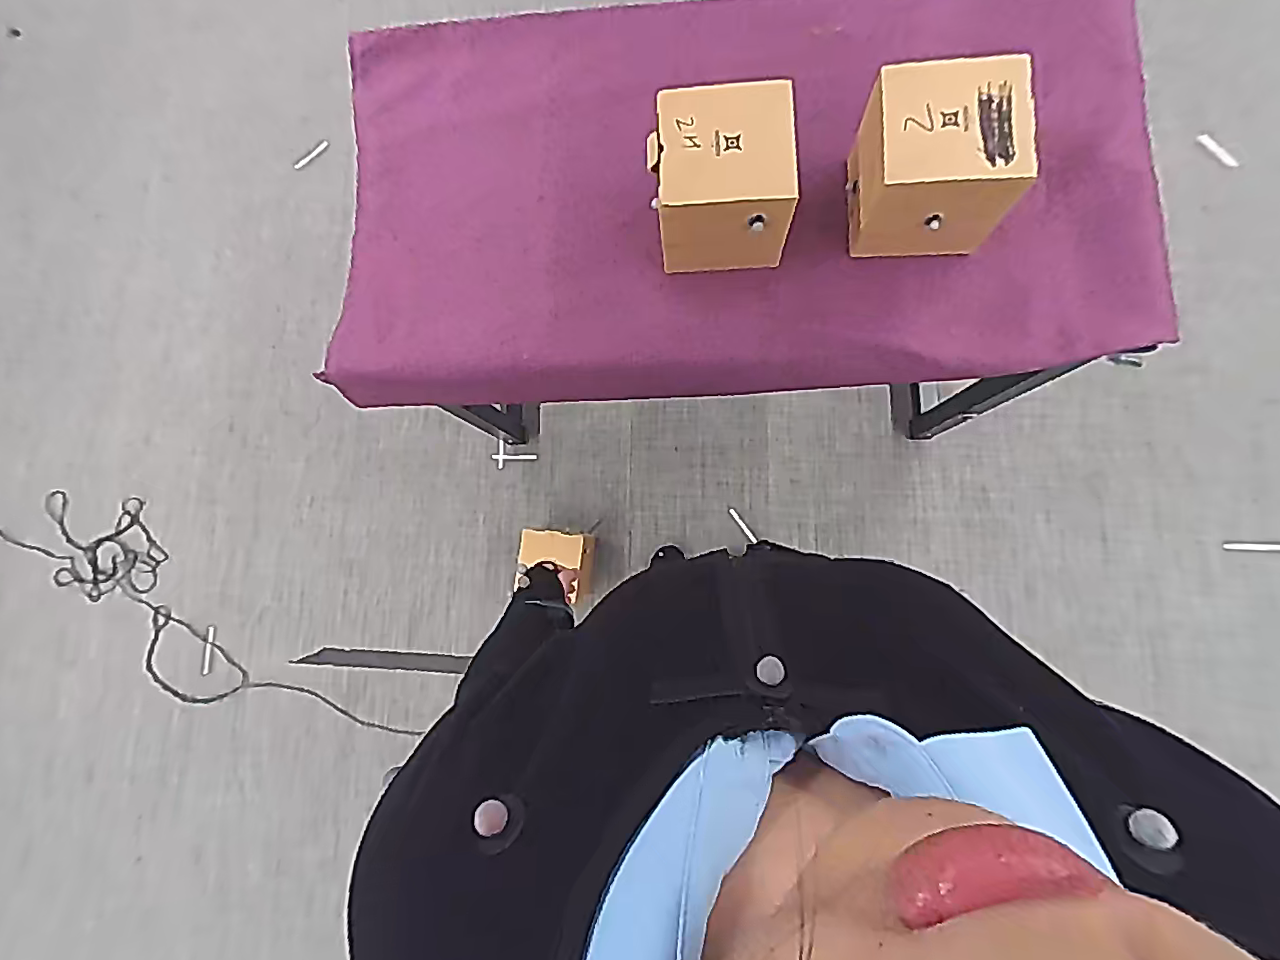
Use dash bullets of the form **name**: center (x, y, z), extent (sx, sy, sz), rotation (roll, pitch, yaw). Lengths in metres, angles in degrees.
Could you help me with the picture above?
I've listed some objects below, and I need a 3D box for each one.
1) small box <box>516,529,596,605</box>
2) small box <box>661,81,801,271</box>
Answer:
- **small box**: center (-0.219, 0.231, 1.462), extent (0.168, 0.176, 0.179), rotation (6, 83, 6)
- **small box**: center (0.121, -0.416, 0.764), extent (0.179, 0.176, 0.168), rotation (-2, 82, 6)
